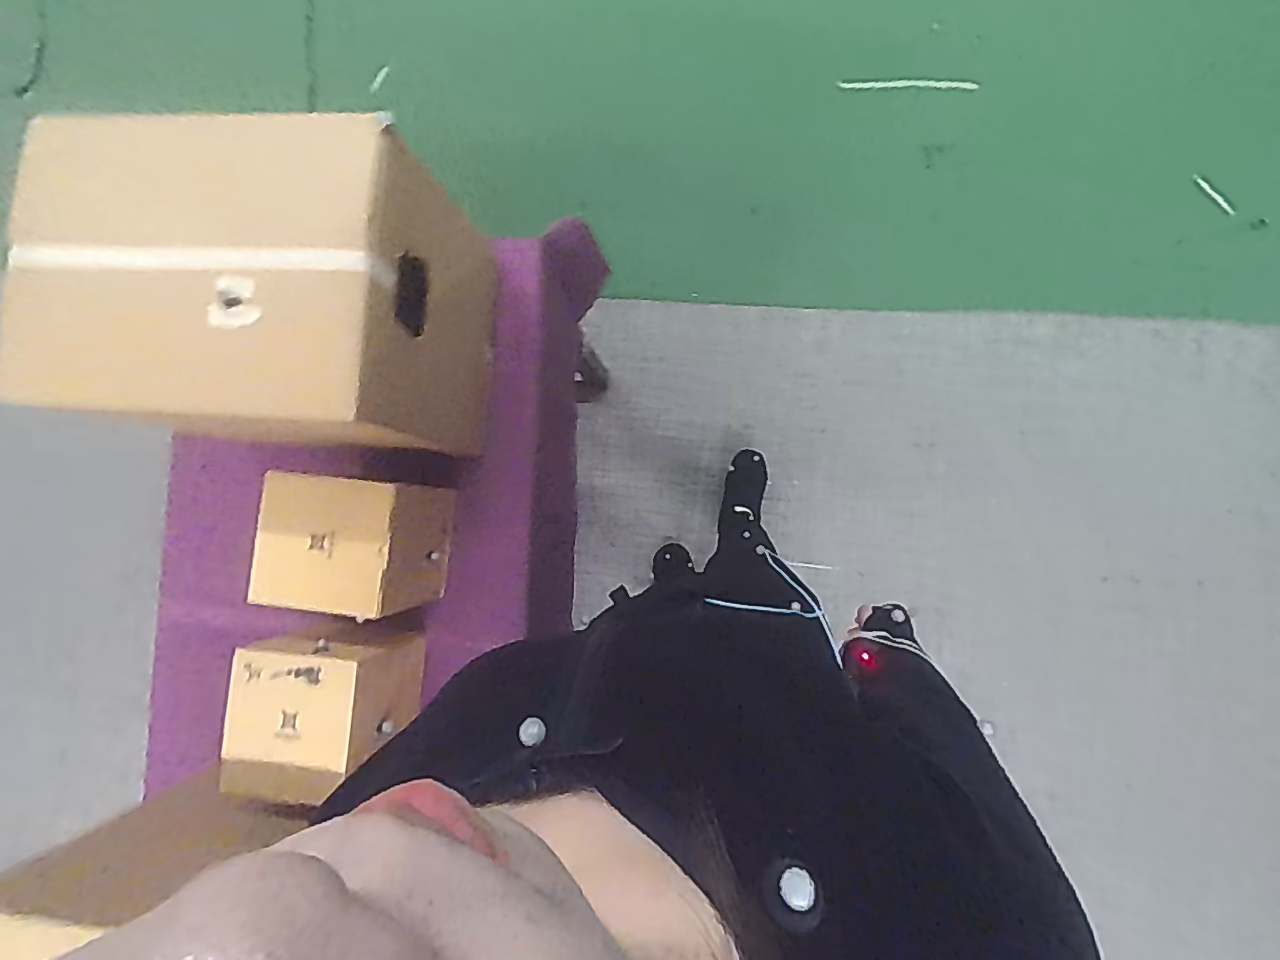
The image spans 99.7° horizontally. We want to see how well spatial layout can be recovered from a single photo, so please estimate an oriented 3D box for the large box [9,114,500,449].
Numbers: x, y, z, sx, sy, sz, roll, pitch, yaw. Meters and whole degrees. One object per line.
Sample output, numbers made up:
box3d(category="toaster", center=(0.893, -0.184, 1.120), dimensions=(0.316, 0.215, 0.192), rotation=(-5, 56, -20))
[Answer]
box3d(category="large box", center=(-0.437, -0.219, 0.703), dimensions=(0.408, 0.320, 0.320), rotation=(4, 86, 5))
